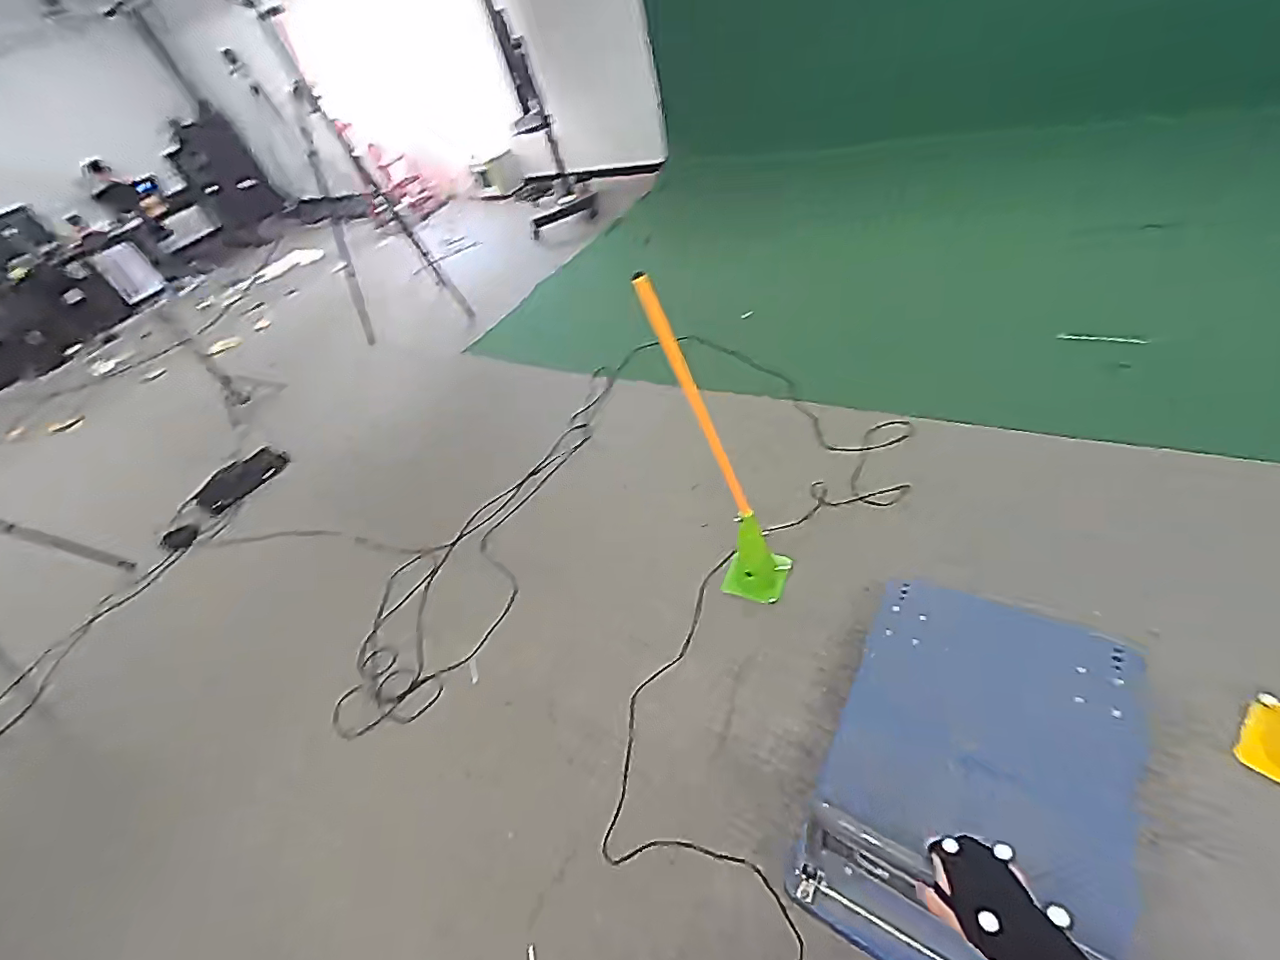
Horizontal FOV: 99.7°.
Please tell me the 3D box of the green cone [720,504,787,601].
[{"bbox_3d":[0.354,0.209,1.787,0.202,0.368,0.200,9,50,28],"label":"green cone"}]
